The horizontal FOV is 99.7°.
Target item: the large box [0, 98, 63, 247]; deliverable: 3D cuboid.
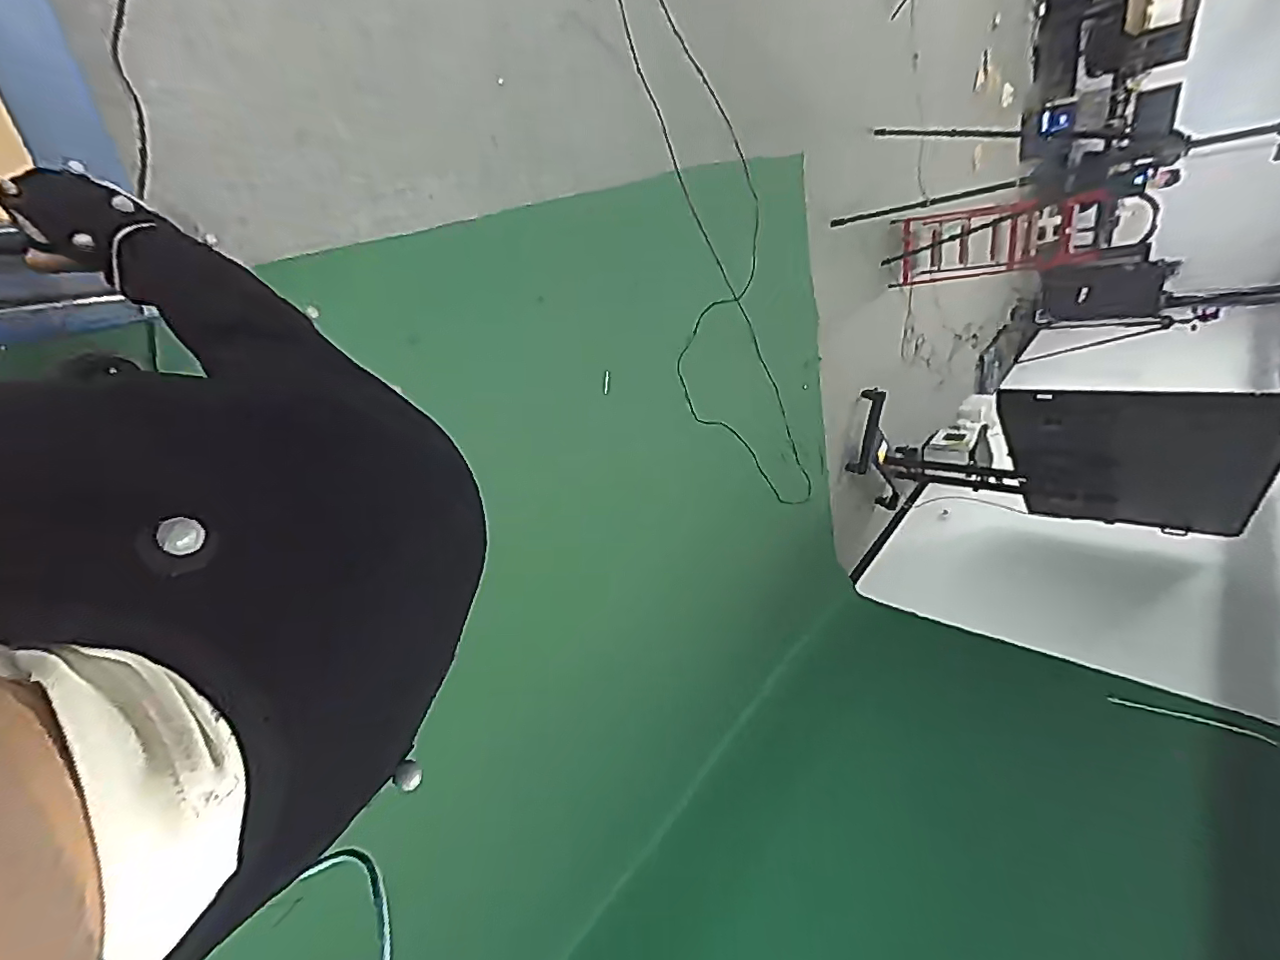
[{"bbox_3d":[-1.094,-0.534,0.723,0.320,0.320,0.408,-30,119,-38],"label":"large box"}]
